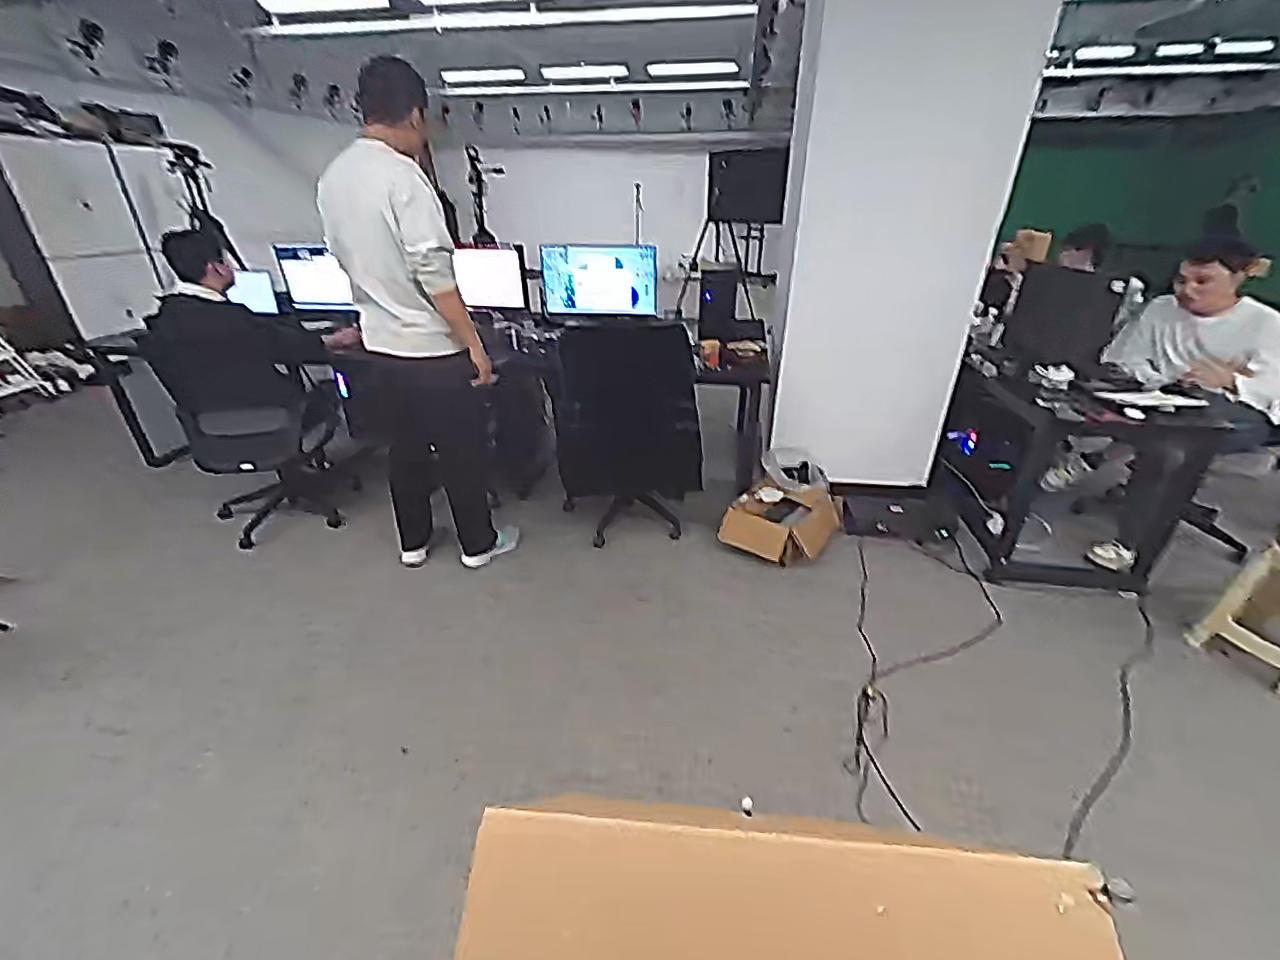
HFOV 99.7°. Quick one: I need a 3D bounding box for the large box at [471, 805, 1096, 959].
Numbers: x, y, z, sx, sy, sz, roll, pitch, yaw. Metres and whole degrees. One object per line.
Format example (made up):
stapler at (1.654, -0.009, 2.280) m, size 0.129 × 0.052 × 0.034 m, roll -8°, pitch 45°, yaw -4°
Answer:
large box at (0.088, 0.453, 0.436) m, size 0.408 × 0.320 × 0.320 m, roll 2°, pitch 62°, yaw 4°
